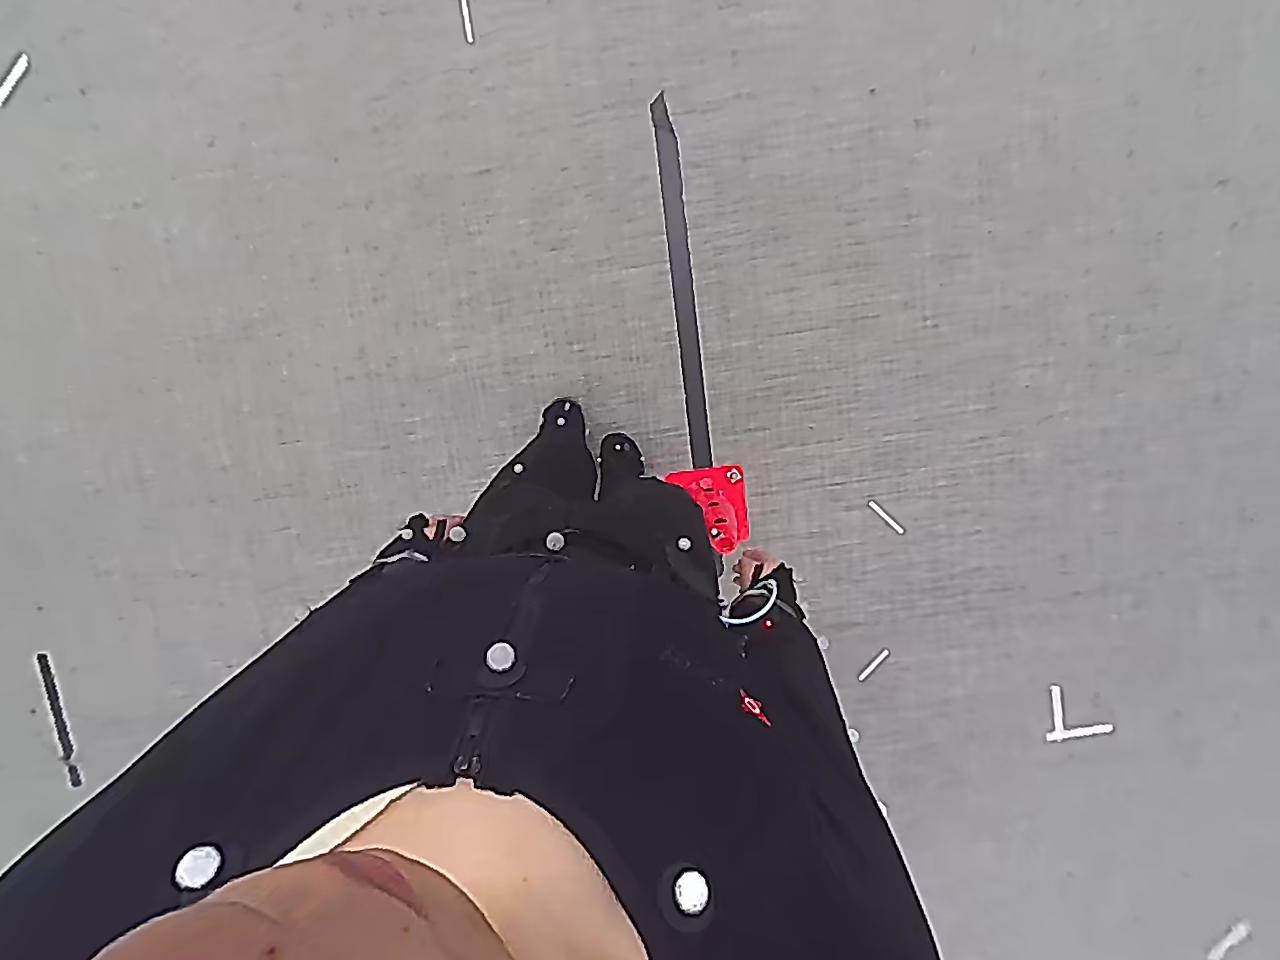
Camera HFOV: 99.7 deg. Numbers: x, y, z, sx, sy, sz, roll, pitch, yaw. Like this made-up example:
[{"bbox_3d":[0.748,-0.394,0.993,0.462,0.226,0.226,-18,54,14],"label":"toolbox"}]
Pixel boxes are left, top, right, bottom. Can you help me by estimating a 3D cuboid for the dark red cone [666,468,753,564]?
[{"bbox_3d":[0.166,0.100,1.173,0.201,0.394,0.202,-8,99,4],"label":"dark red cone"}]
